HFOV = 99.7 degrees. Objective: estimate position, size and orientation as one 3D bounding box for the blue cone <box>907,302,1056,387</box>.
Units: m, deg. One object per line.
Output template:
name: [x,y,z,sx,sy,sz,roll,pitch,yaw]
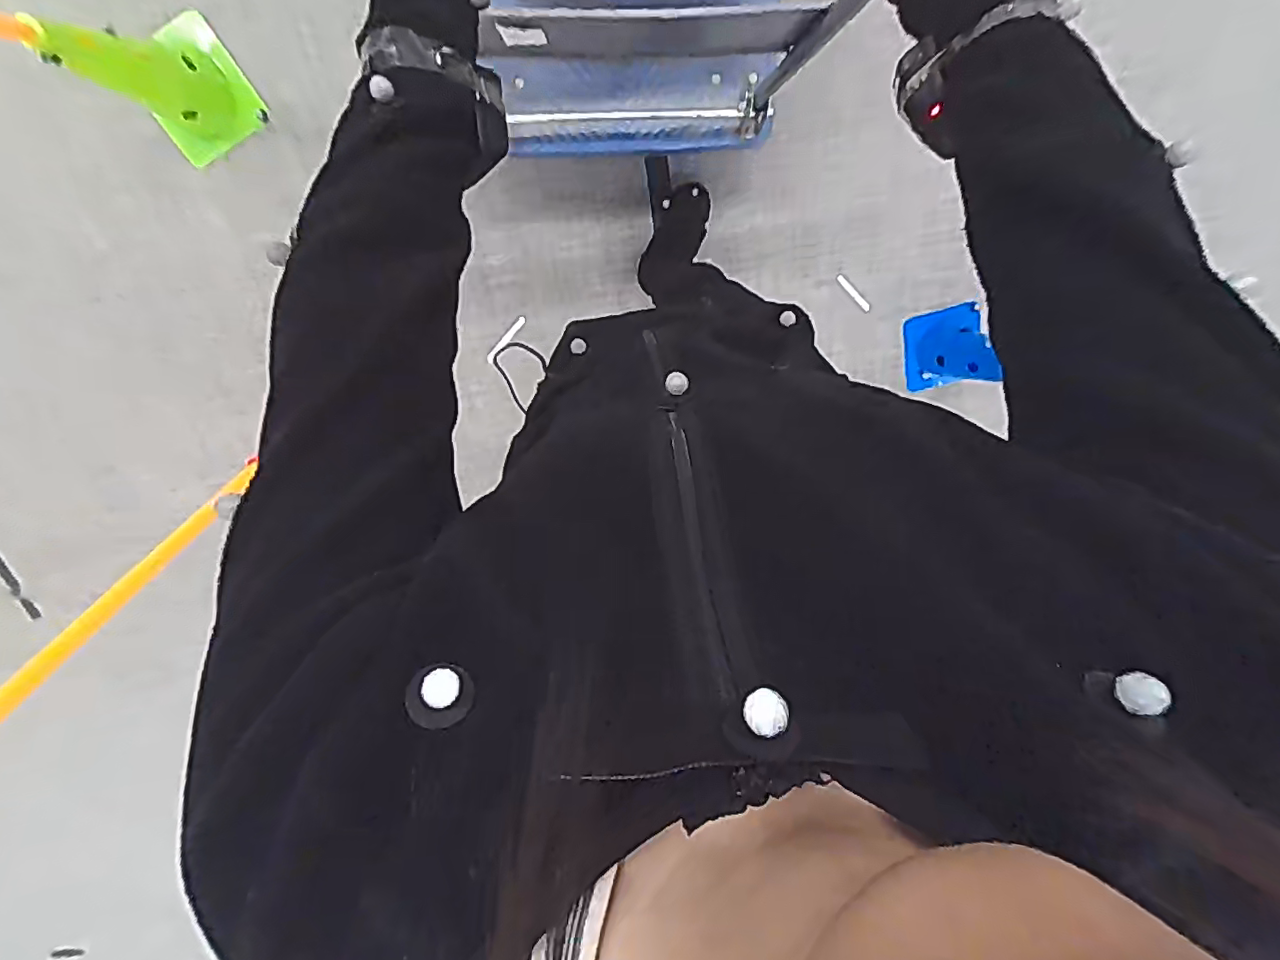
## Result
blue cone: [0.804,-0.283,1.254,0.193,0.380,0.192,-14,113,1]
